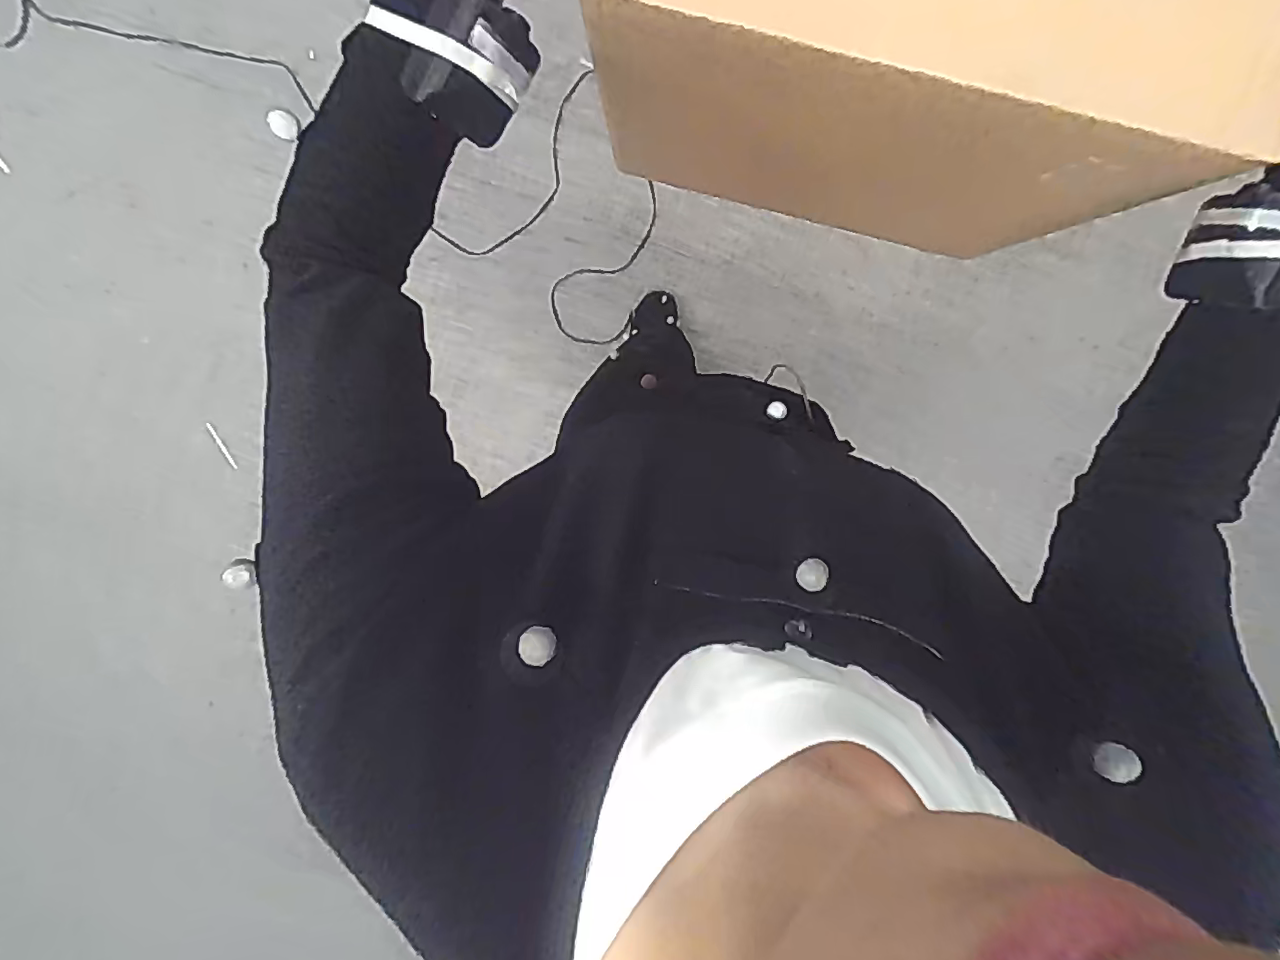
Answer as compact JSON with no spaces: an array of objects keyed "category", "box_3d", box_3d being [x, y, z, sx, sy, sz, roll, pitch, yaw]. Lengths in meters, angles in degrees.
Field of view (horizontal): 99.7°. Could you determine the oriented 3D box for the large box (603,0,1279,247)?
[{"category":"large box","box_3d":[0.200,-0.411,0.421,0.408,0.320,0.320,13,103,-2]}]
